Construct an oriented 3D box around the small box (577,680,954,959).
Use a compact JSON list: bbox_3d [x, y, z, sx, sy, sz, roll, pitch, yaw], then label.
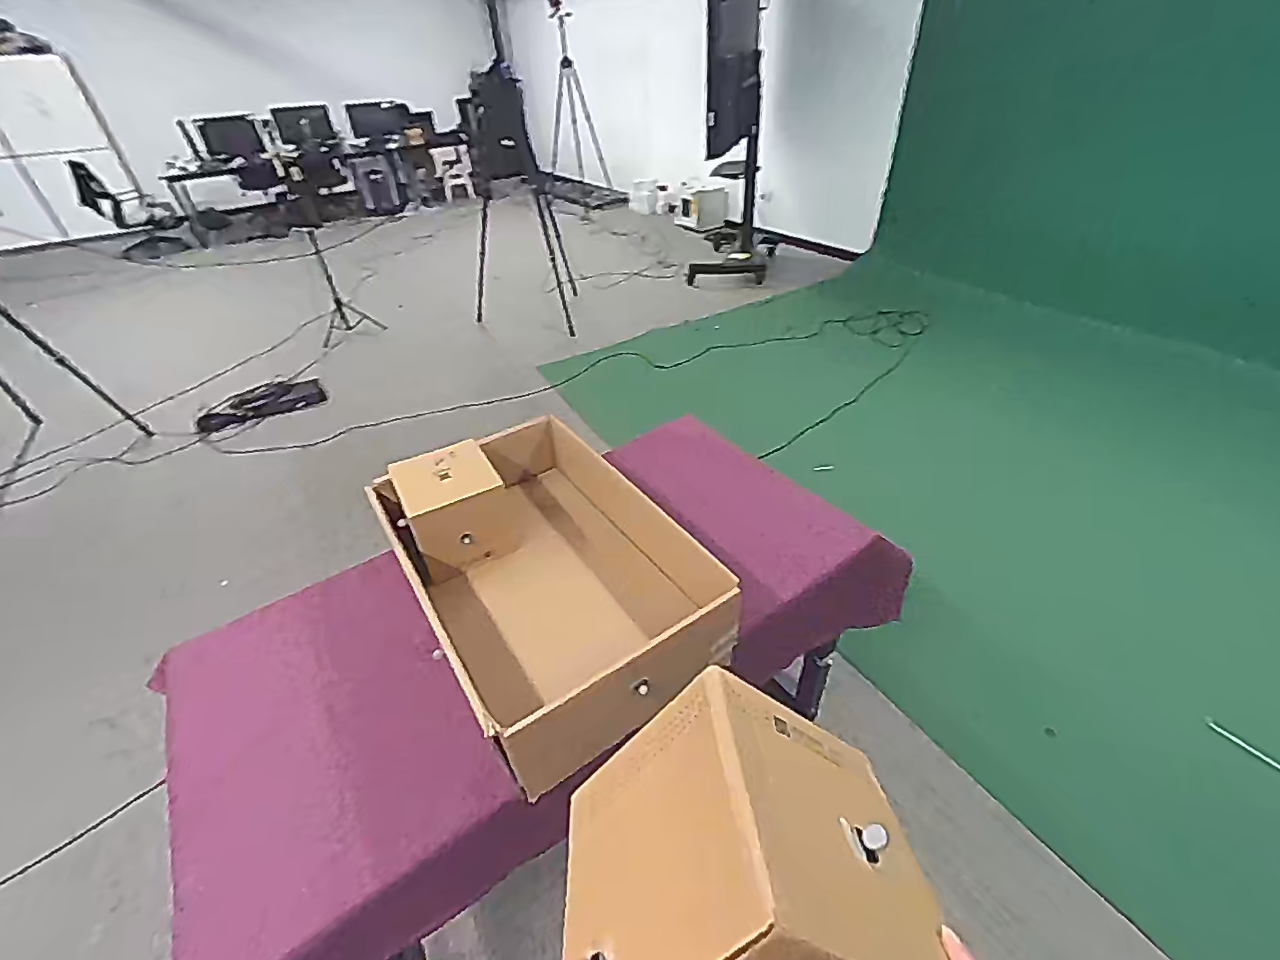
[{"bbox_3d":[0.064,0.275,0.371,0.168,0.179,0.176,33,19,-17],"label":"small box"}]
